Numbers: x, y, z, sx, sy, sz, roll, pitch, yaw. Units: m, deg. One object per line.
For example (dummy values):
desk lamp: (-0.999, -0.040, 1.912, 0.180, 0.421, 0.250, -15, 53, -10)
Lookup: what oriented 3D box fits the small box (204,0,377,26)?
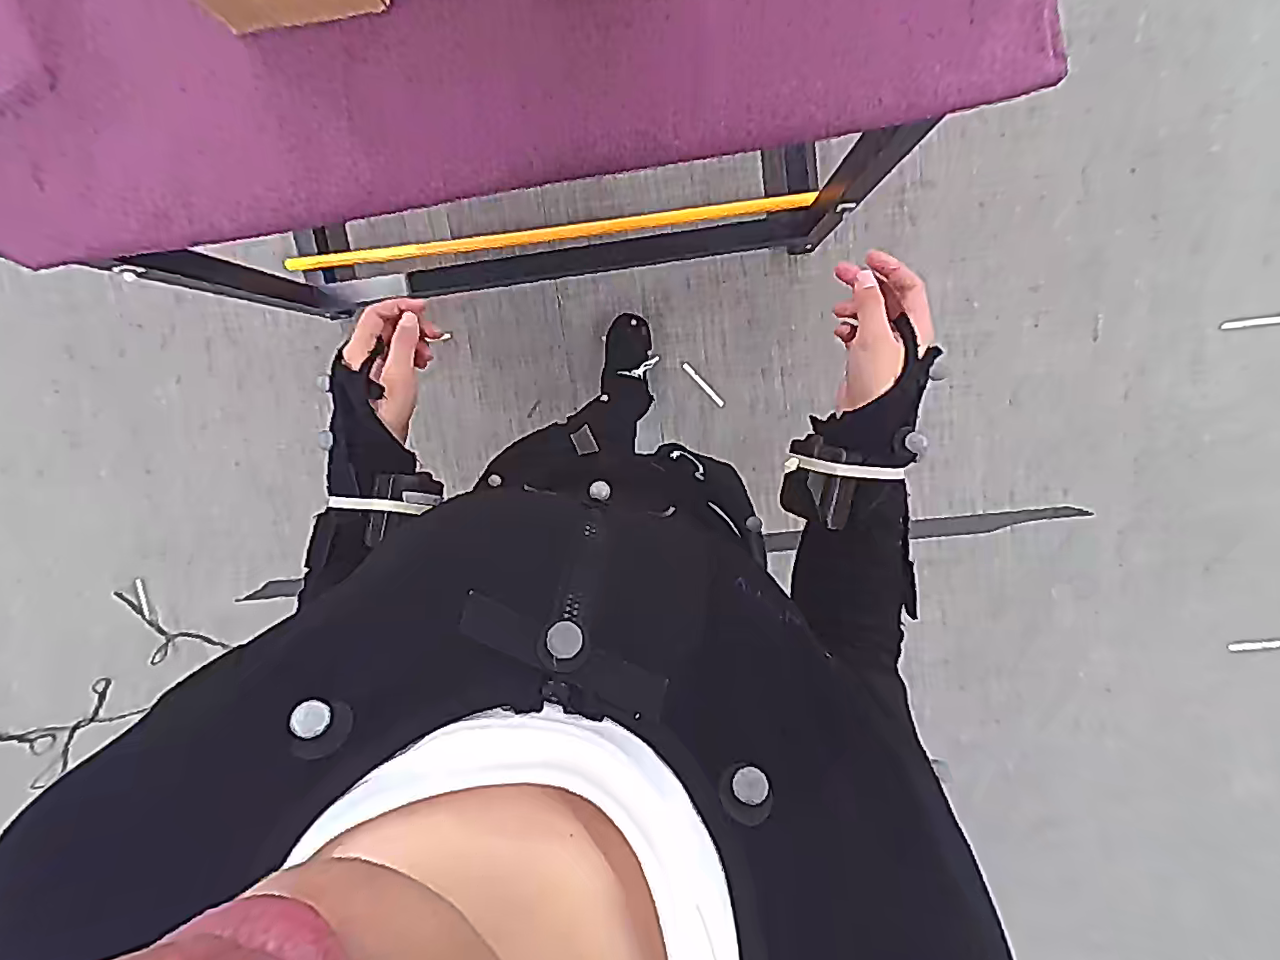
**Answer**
small box: (-0.360, -0.551, 0.480, 0.179, 0.176, 0.168, -7, 98, 3)
